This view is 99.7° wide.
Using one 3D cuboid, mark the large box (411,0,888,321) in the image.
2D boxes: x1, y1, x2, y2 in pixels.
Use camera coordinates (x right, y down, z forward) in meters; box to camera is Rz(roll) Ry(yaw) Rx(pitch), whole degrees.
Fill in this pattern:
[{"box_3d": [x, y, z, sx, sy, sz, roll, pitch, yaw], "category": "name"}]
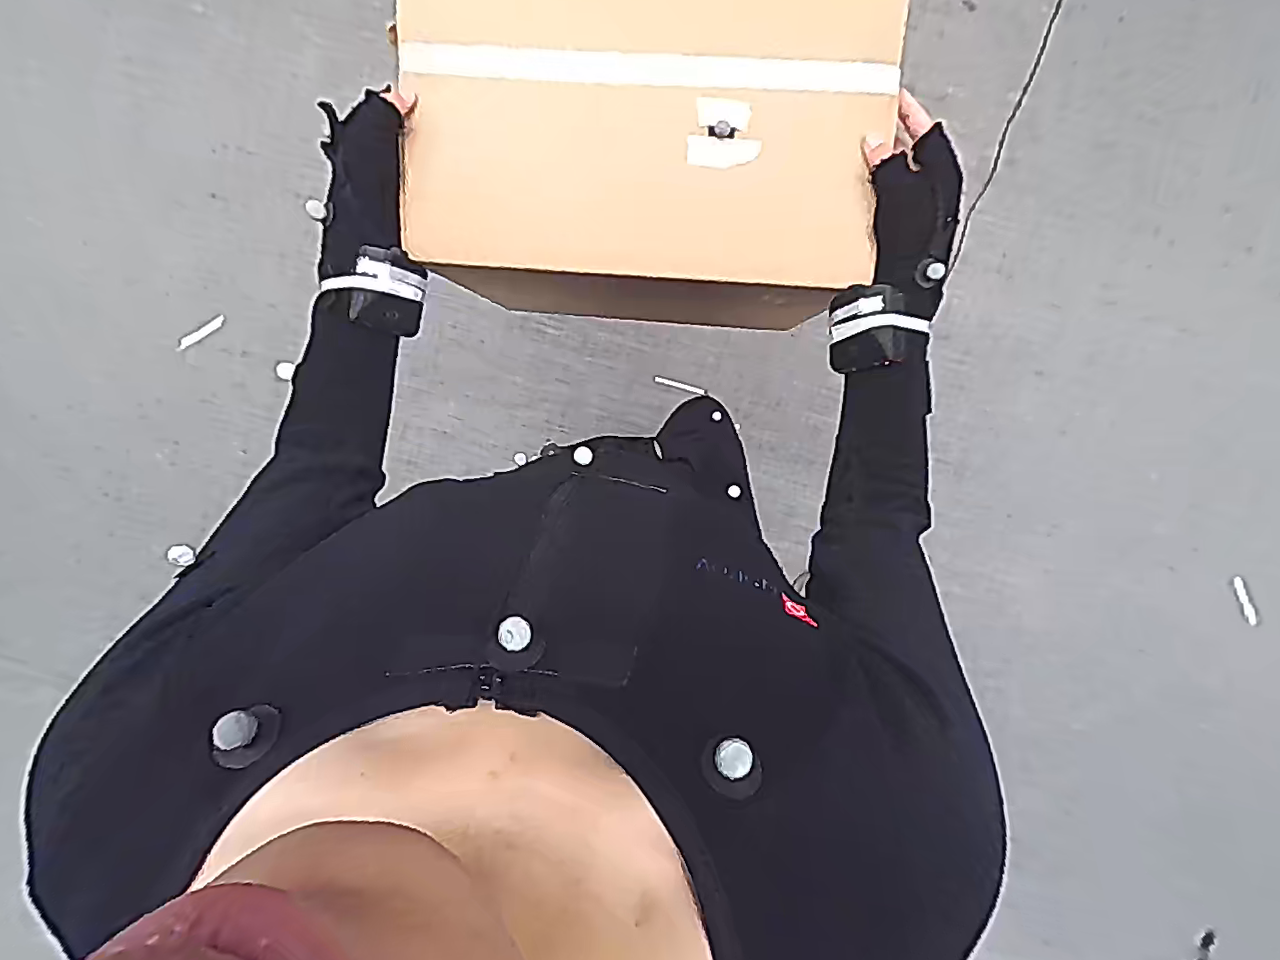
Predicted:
[{"box_3d": [0.006, -0.360, 0.604, 0.408, 0.320, 0.320, 3, 100, 2], "category": "large box"}]
